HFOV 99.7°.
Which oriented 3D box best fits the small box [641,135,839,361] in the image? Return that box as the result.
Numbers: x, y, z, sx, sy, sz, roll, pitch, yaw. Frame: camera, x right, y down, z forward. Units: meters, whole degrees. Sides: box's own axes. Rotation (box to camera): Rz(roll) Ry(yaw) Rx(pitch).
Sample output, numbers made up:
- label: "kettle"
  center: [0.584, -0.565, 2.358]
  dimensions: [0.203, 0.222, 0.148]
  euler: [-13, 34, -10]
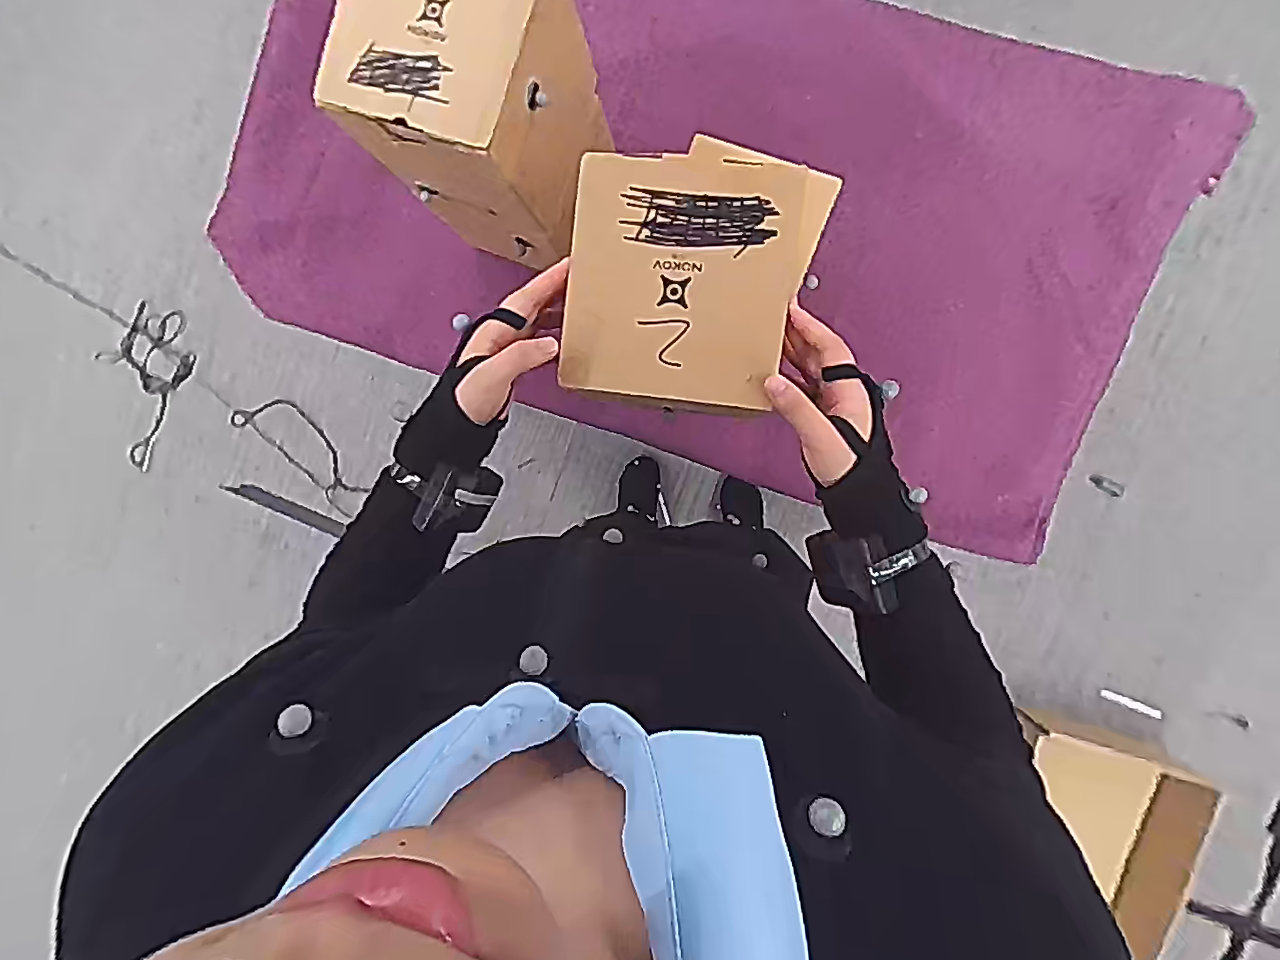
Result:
- label: "small box"
  center: [0.112, -0.263, 0.654]
  dimensions: [0.168, 0.176, 0.179]
  euler: [21, 95, 6]

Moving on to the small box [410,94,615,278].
- label: "small box"
  center: [-0.145, -0.375, 0.680]
  dimensions: [0.179, 0.176, 0.168]
  euler: [21, 95, 6]

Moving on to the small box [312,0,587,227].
- label: "small box"
  center: [-0.163, -0.374, 0.516]
  dimensions: [0.168, 0.176, 0.179]
  euler: [19, 94, 5]
